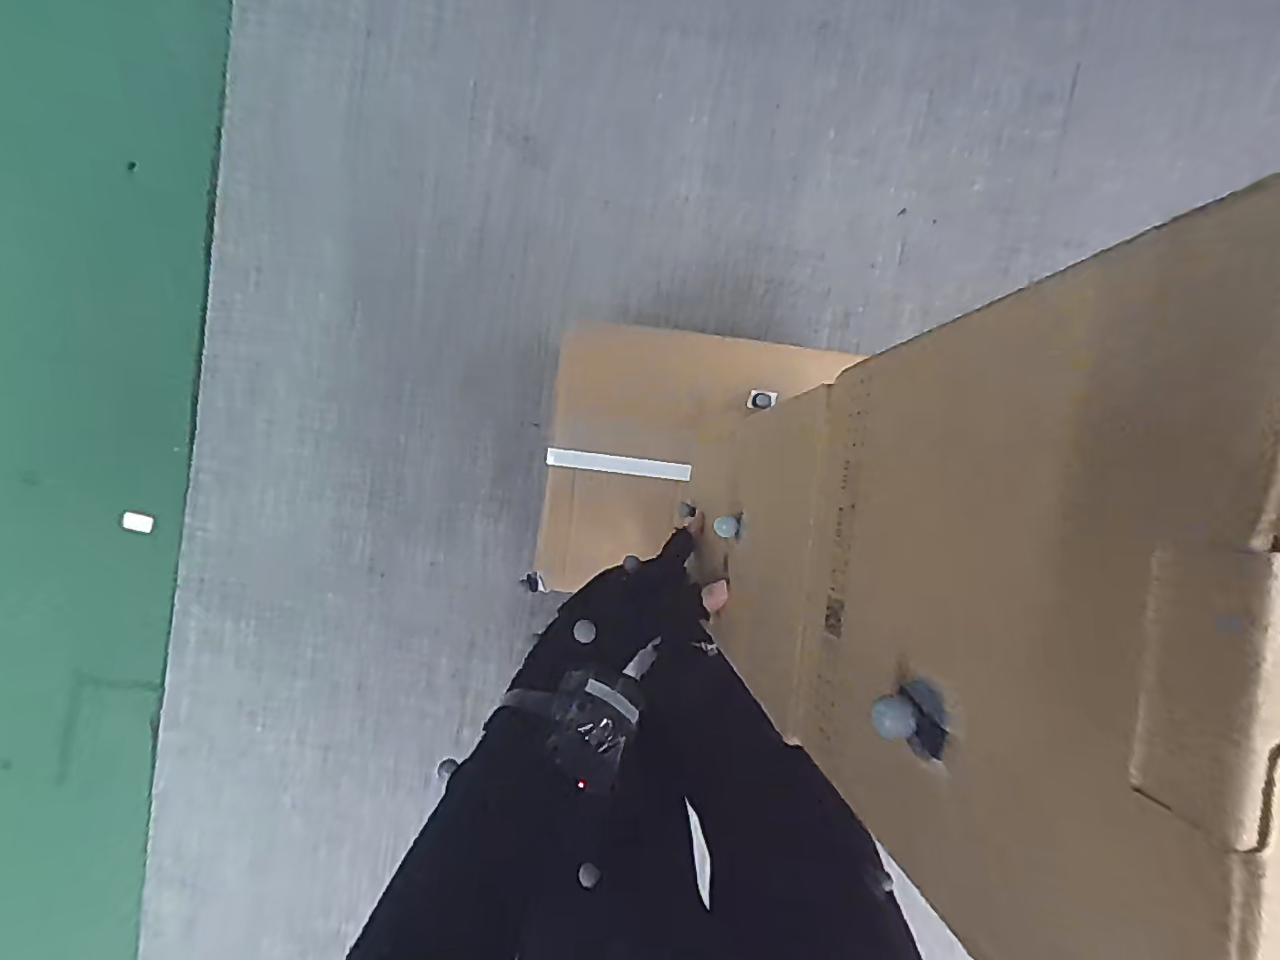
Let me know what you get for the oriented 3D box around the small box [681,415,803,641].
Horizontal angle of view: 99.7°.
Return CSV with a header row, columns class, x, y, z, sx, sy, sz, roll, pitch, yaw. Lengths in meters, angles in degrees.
class,x,y,z,sx,sy,sz,roll,pitch,yaw
small box,0.134,0.044,0.496,0.168,0.176,0.179,6,90,-3
